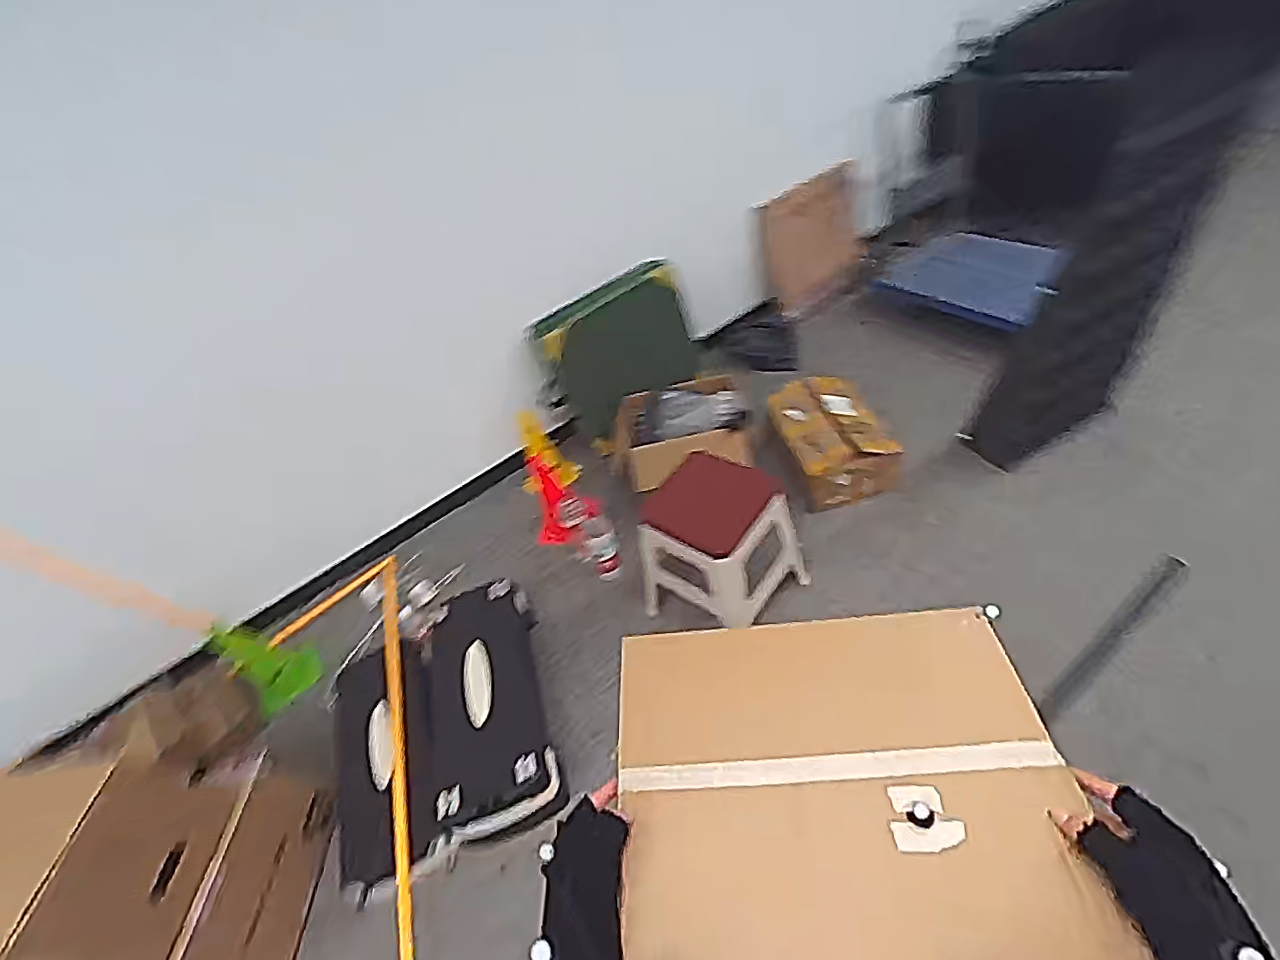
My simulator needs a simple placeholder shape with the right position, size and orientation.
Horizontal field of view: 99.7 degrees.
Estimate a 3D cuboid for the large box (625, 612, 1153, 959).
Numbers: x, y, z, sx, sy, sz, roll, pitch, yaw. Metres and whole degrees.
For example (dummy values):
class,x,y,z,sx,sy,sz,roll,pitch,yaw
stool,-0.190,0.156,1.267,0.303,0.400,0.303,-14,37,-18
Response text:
class,x,y,z,sx,sy,sz,roll,pitch,yaw
large box,0.207,0.383,0.623,0.408,0.320,0.320,-6,44,8
